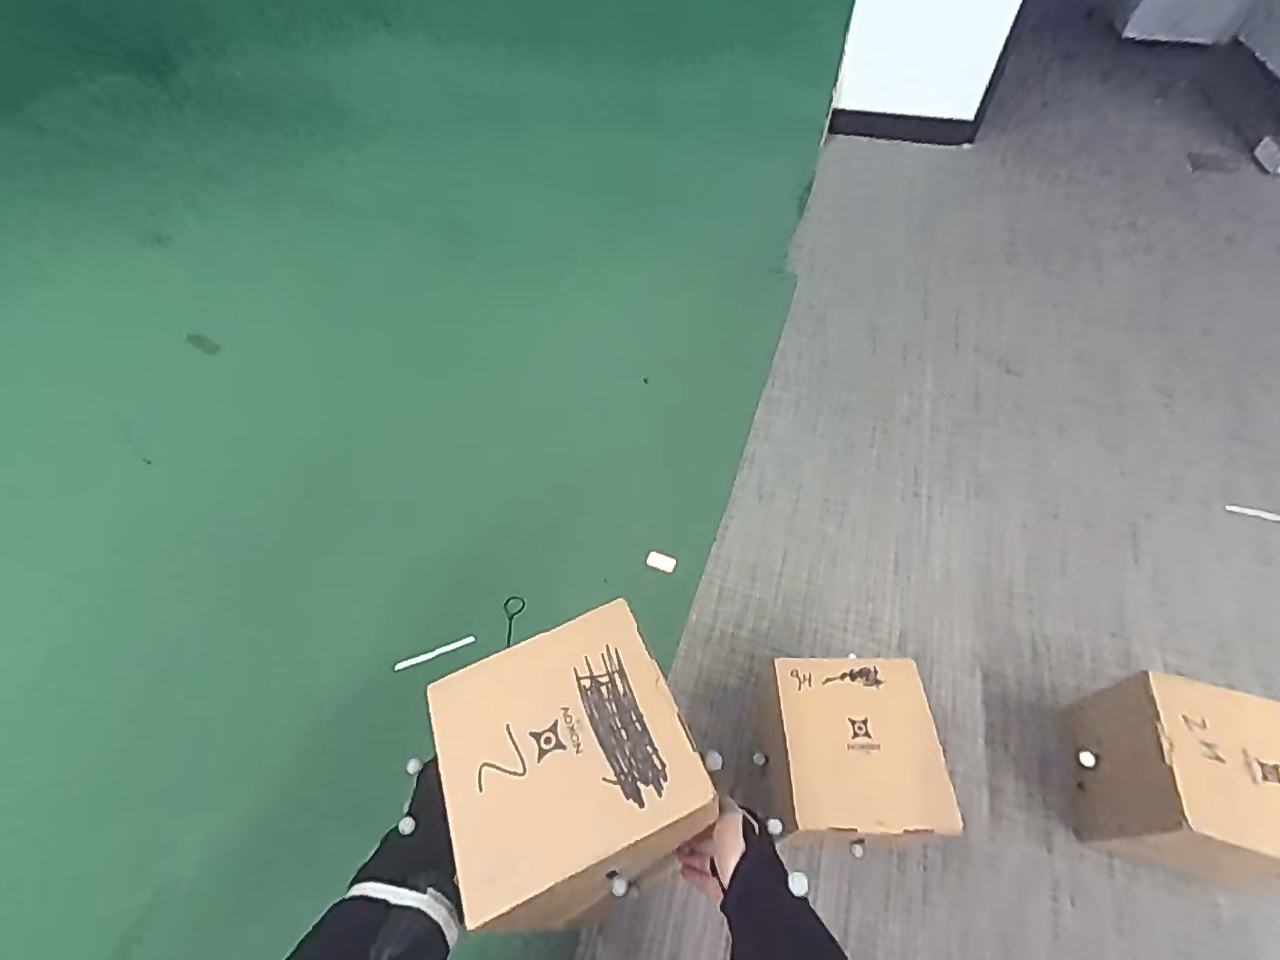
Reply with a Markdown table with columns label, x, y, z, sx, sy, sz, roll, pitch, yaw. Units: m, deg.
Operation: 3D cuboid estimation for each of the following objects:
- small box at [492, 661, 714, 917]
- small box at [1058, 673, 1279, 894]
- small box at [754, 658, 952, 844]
| label | x | y | z | sx | sy | sz | roll | pitch | yaw |
| --- | --- | --- | --- | --- | --- | --- | --- | --- | --- |
| small box | -0.032 | 0.334 | 0.582 | 0.179 | 0.176 | 0.168 | -24 | 52 | -12 |
| small box | 0.632 | 0.350 | 0.620 | 0.179 | 0.176 | 0.168 | 14 | 53 | 11 |
| small box | 0.235 | 0.329 | 0.651 | 0.168 | 0.176 | 0.179 | 1 | 53 | 3 |
